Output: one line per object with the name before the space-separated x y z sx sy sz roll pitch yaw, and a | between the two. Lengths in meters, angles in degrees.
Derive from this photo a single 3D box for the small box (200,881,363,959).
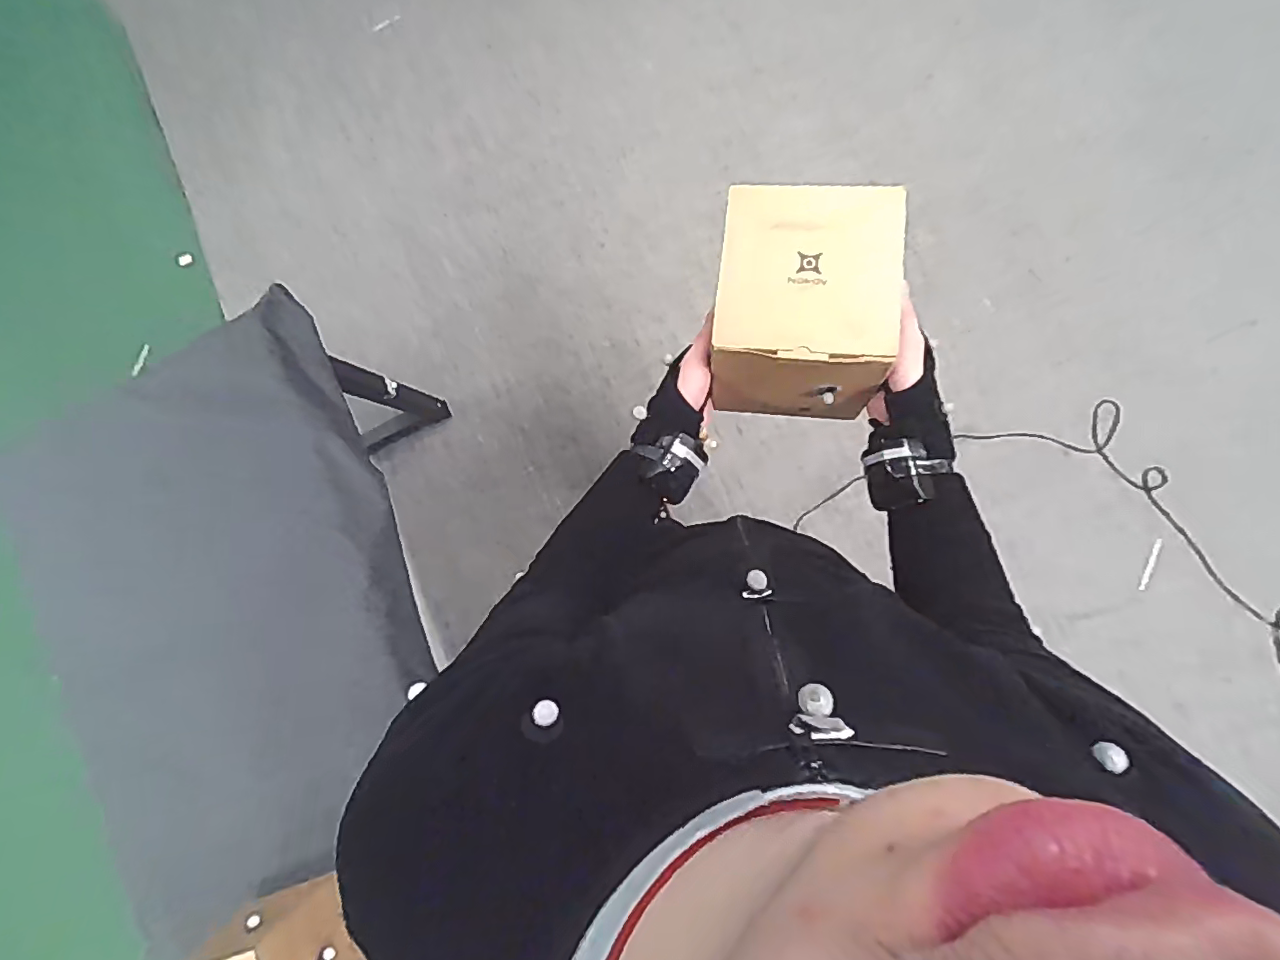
small box | -0.543 0.748 0.804 0.179 0.176 0.168 -23 82 5

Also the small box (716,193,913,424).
small box | 0.173 -0.171 0.576 0.168 0.176 0.179 6 76 9
